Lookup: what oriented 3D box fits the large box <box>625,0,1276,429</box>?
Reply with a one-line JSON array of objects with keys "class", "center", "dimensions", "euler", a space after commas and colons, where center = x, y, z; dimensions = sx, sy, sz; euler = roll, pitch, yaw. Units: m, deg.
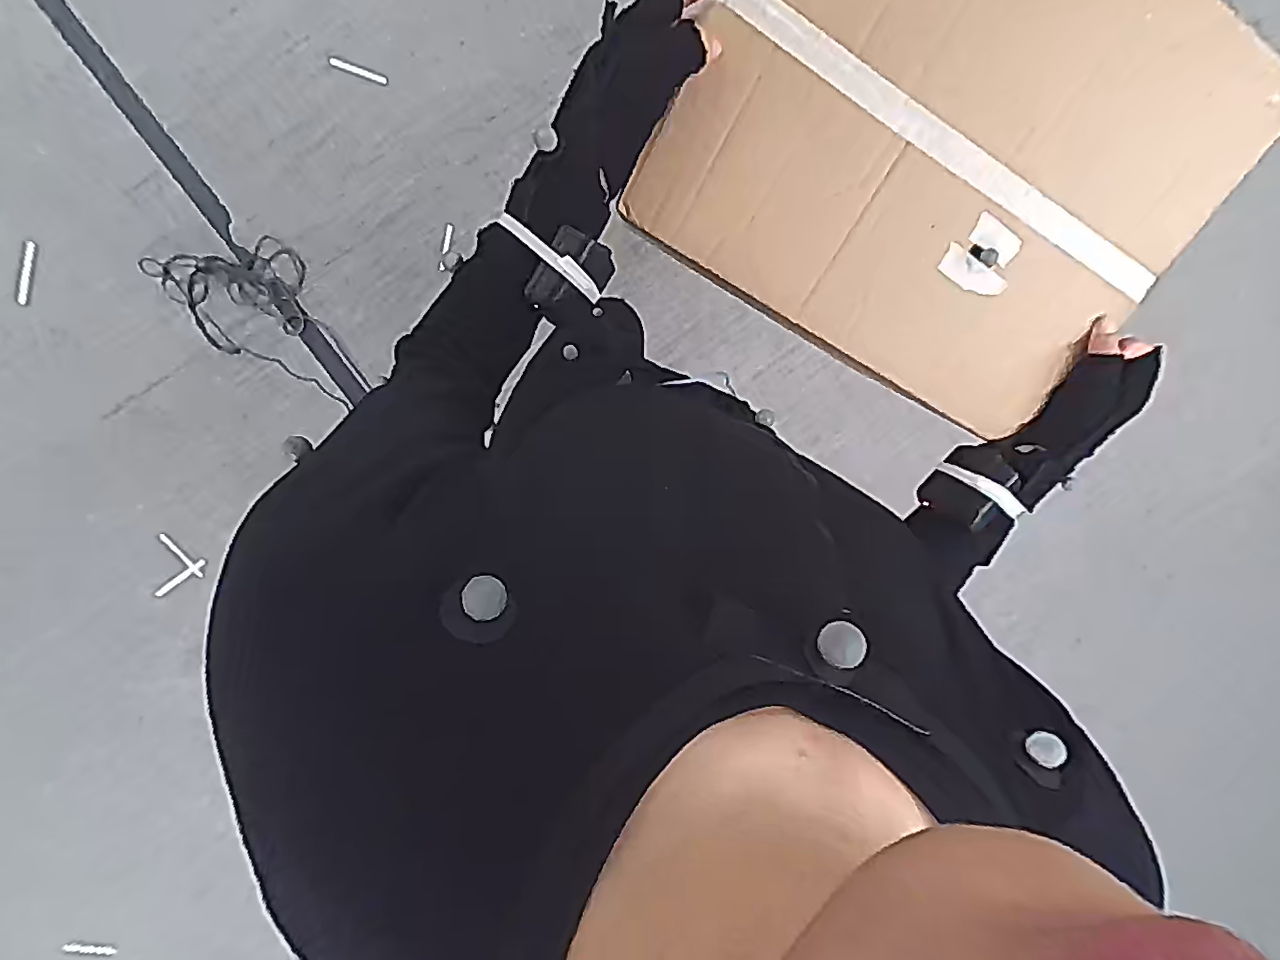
[{"class": "large box", "center": [0.227, -0.311, 0.550], "dimensions": [0.408, 0.320, 0.320], "euler": [27, 111, -12]}]
